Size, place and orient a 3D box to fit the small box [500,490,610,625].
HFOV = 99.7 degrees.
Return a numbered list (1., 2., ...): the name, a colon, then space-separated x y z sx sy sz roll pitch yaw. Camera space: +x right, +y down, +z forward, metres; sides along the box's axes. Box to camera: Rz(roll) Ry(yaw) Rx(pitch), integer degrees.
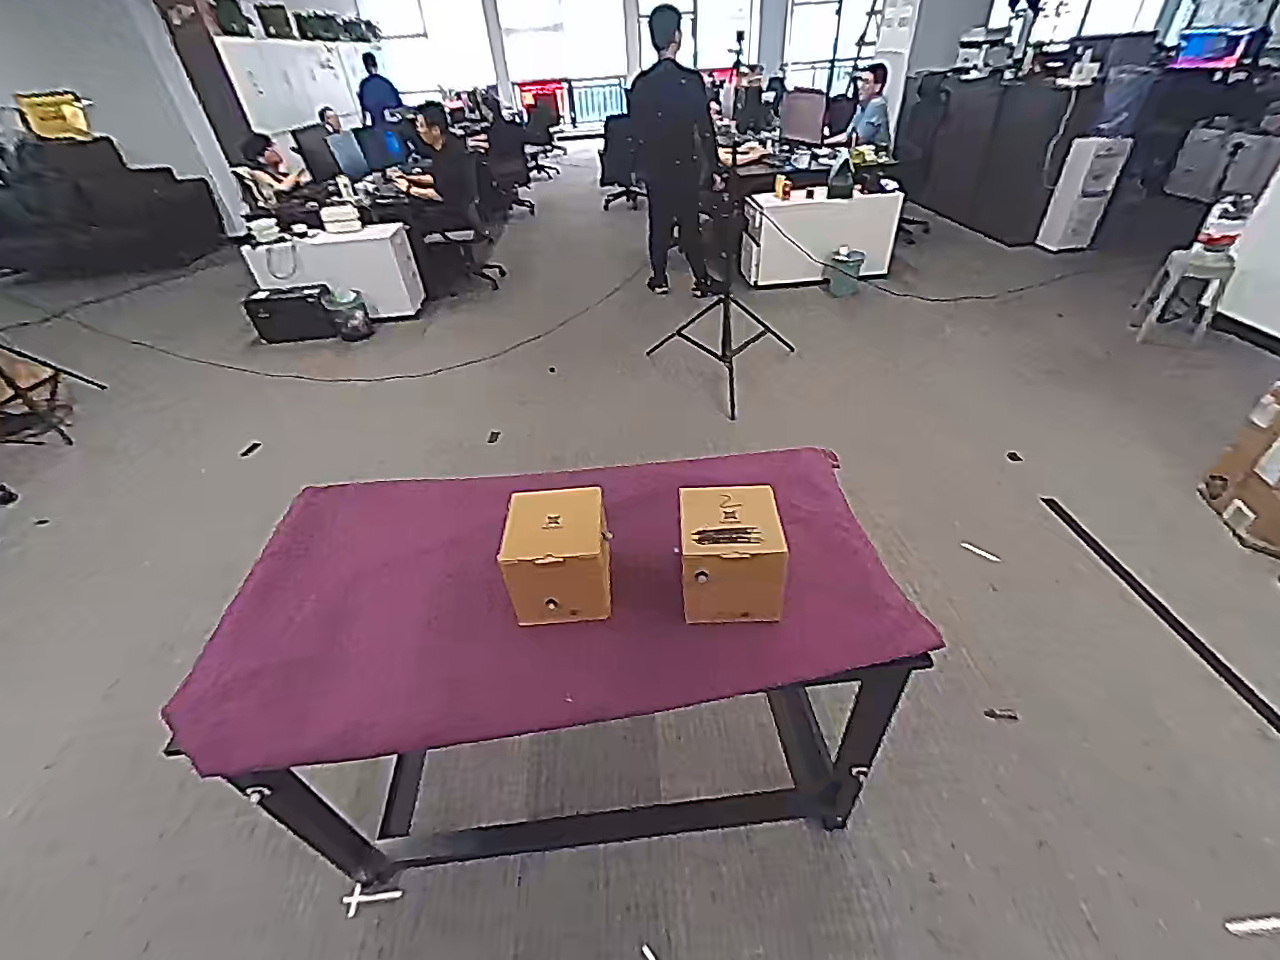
1. small box: -0.146 0.140 0.985 0.168 0.176 0.179 -5 39 0
